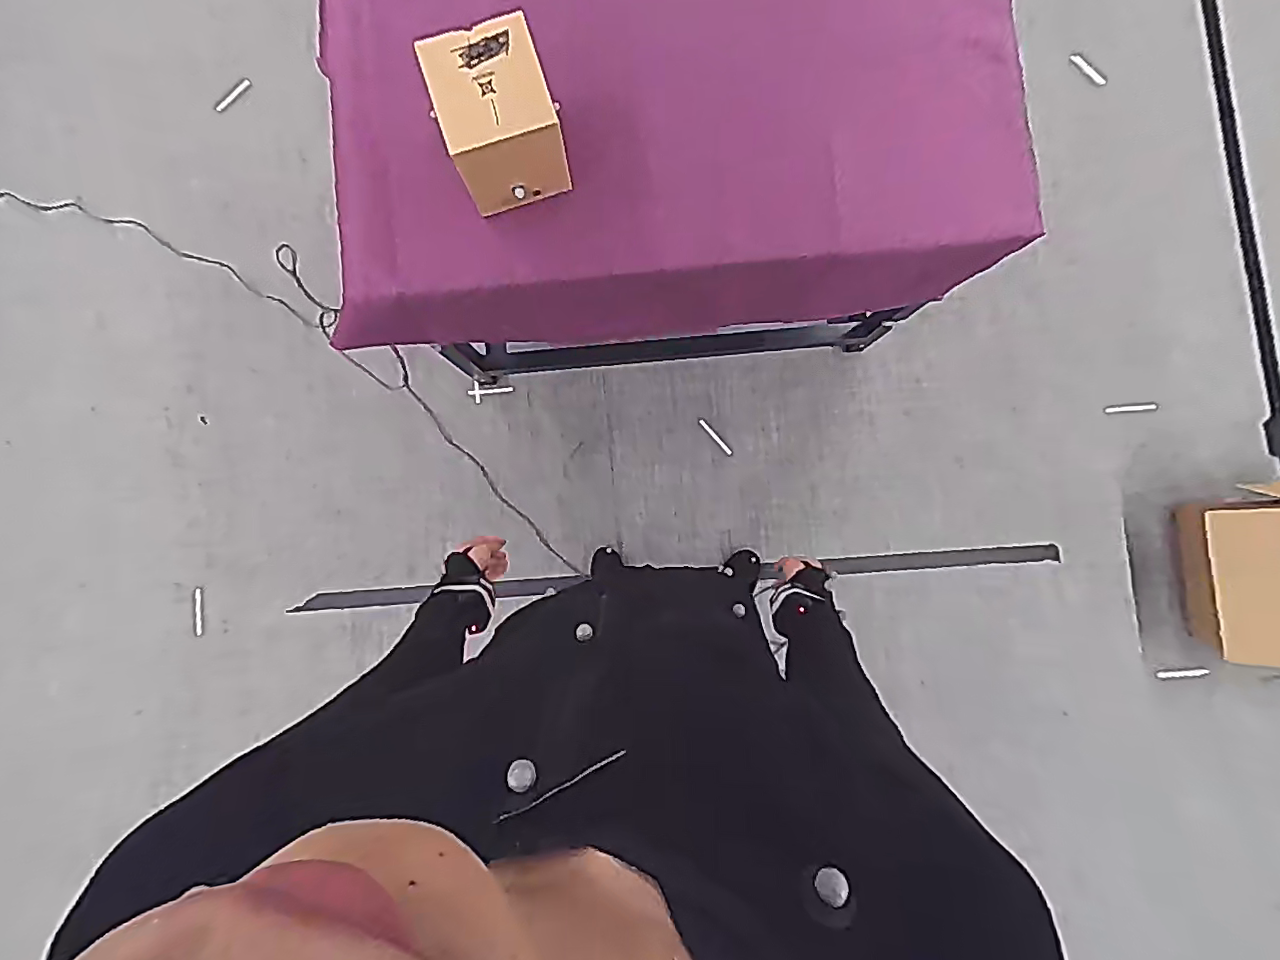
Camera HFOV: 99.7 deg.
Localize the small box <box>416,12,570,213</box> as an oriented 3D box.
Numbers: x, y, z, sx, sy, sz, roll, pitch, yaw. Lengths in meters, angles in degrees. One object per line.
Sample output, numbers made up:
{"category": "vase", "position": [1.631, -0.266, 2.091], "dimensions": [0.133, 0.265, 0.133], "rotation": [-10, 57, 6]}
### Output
{"category": "small box", "position": [-0.219, -0.560, 0.847], "dimensions": [0.168, 0.176, 0.179], "rotation": [-18, 88, -1]}
